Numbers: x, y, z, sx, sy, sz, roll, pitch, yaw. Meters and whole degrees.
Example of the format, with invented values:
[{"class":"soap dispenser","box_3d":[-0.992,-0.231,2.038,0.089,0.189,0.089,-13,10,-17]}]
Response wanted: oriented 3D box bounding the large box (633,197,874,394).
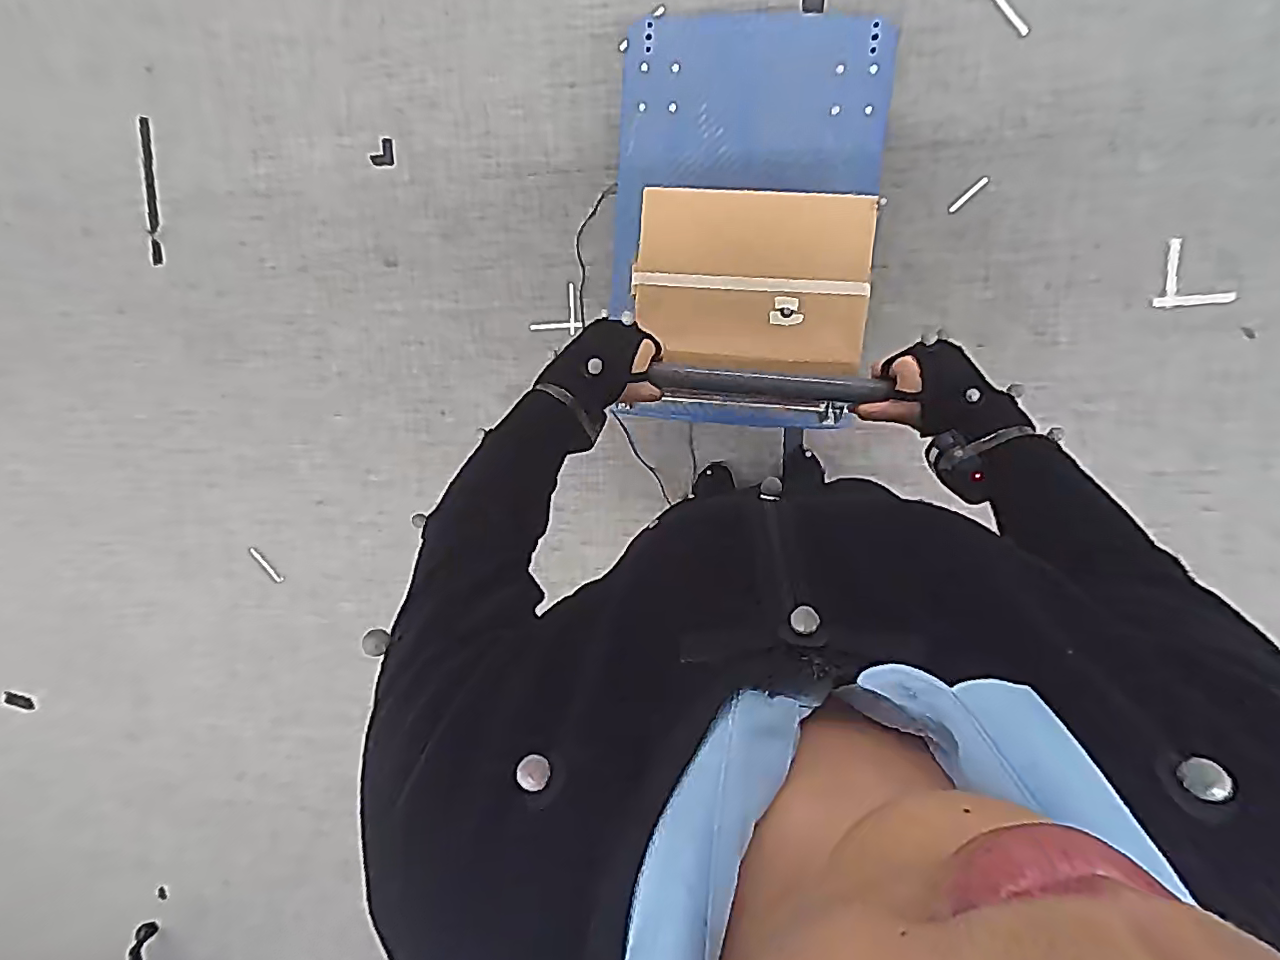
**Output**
[{"class":"large box","box_3d":[0.204,-0.347,1.095,0.408,0.320,0.320,5,97,5]}]
